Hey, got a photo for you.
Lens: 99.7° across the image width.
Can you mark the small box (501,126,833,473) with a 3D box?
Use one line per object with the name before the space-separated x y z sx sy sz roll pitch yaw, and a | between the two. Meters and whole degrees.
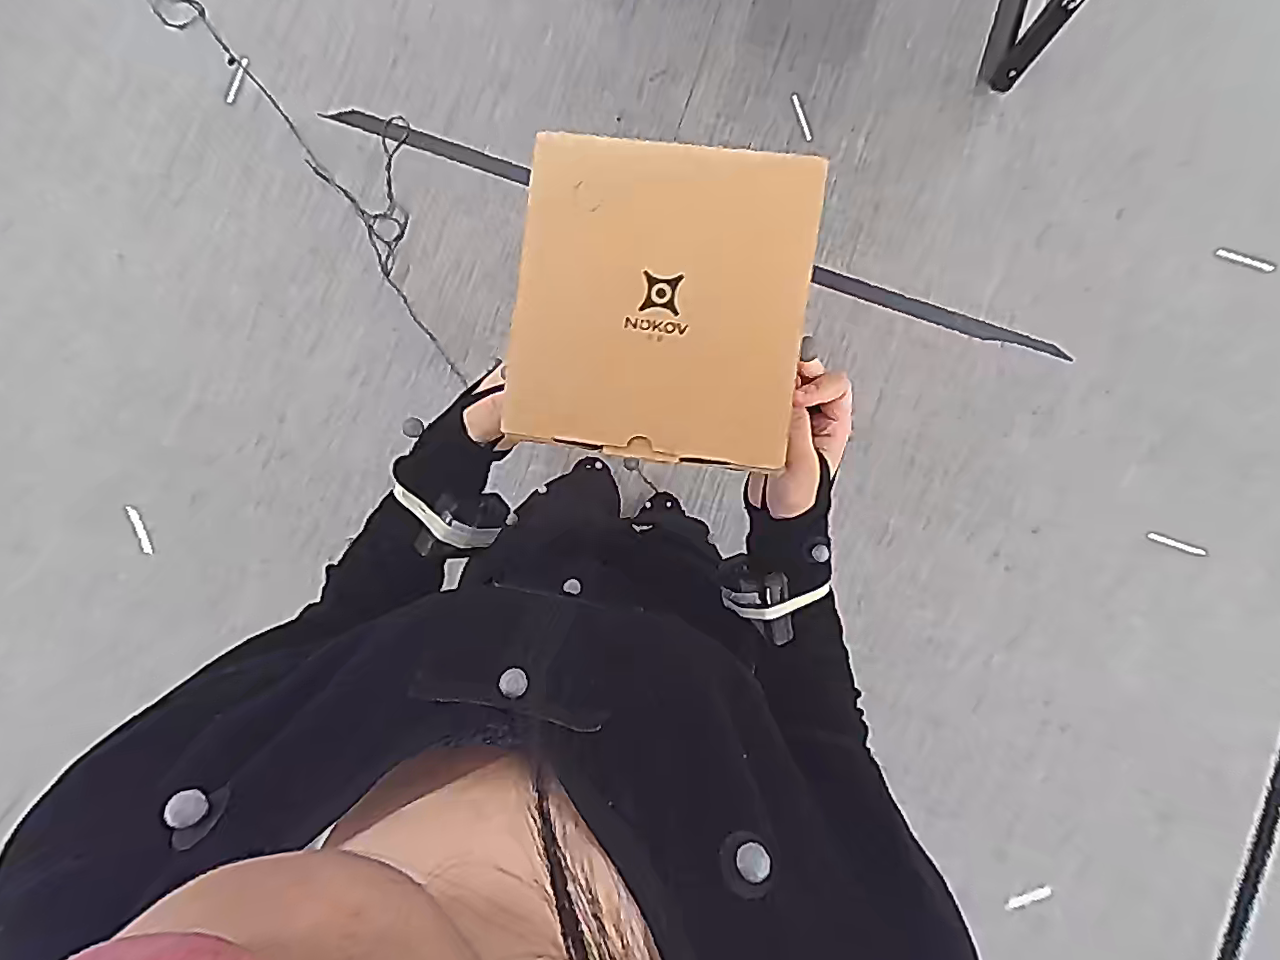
small box | 0.019 -0.104 0.379 0.168 0.176 0.179 8 93 5
